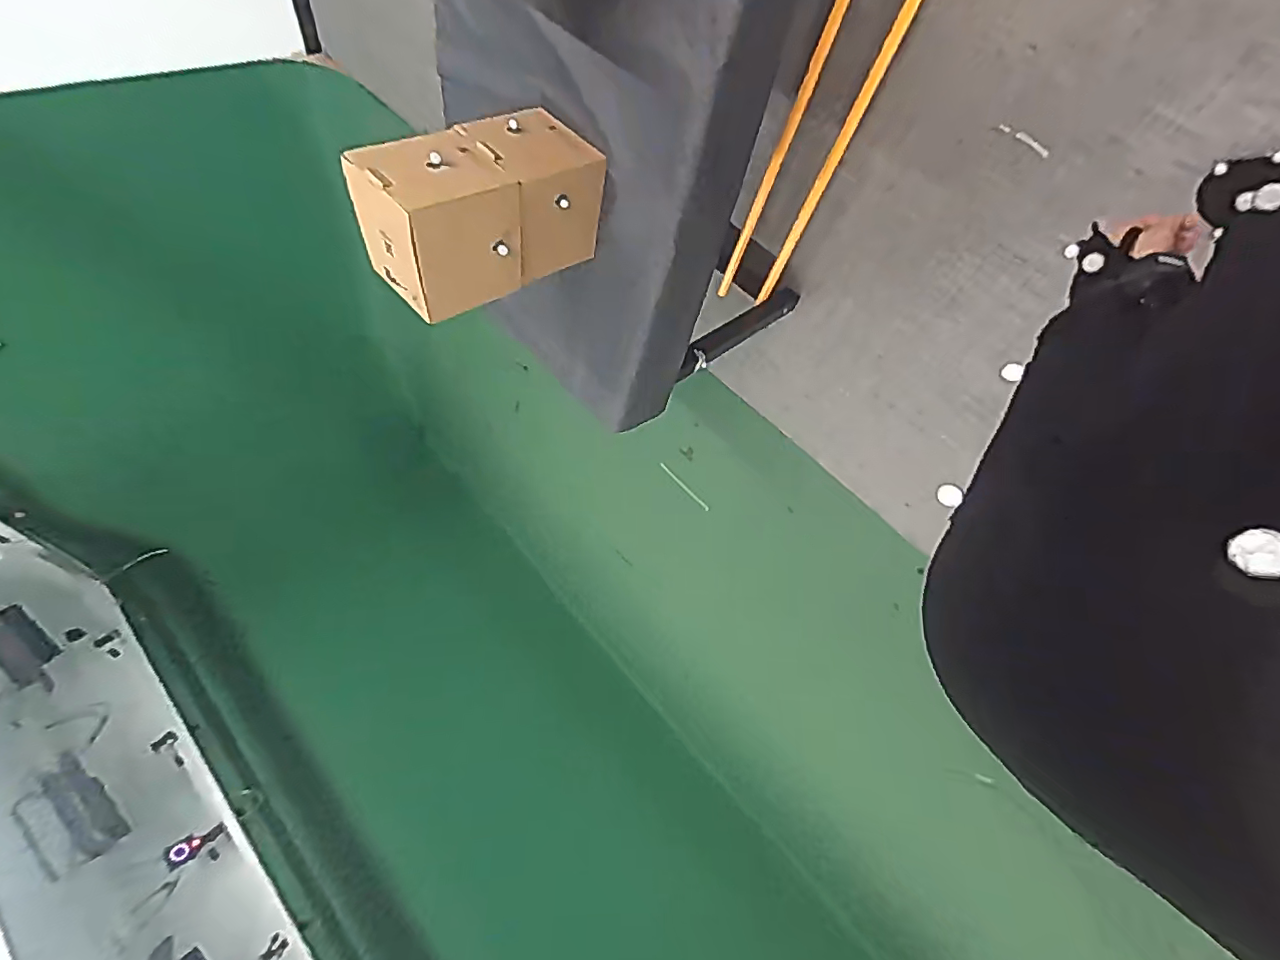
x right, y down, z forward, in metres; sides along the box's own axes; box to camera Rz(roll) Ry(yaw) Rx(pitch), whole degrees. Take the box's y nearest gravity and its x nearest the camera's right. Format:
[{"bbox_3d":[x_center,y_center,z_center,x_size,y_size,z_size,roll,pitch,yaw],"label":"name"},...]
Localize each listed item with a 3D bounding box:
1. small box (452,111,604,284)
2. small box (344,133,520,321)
[{"bbox_3d":[-0.176,-0.458,0.870,0.168,0.176,0.179,46,150,17],"label":"small box"},{"bbox_3d":[-0.289,-0.372,0.787,0.168,0.176,0.179,44,148,20],"label":"small box"}]
